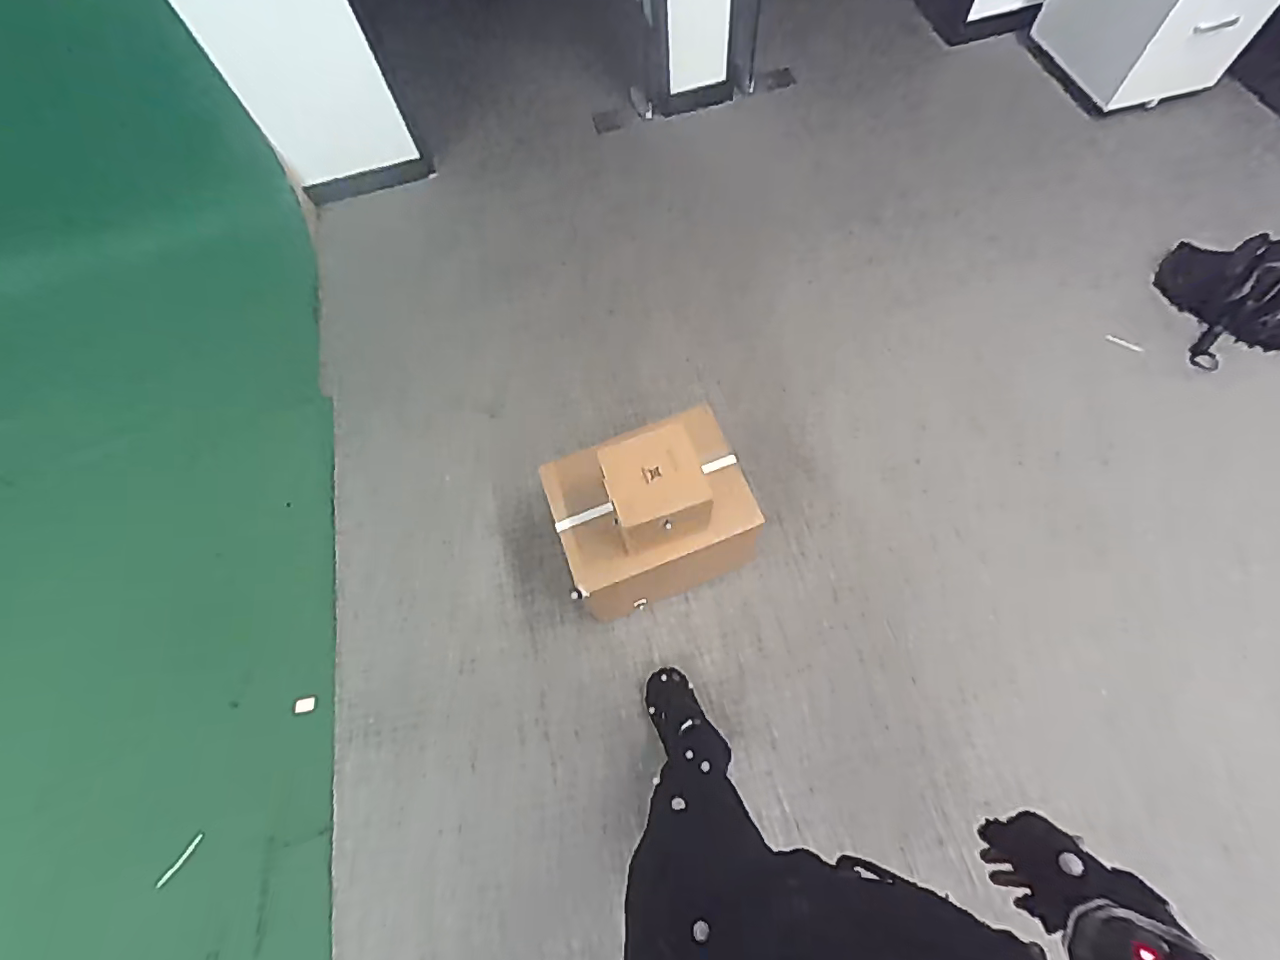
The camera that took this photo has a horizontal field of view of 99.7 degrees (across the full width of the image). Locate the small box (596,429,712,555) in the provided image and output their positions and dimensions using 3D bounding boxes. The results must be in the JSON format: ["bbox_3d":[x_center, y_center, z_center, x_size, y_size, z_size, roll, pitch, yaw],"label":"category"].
[{"bbox_3d":[0.030,0.031,1.059,0.179,0.176,0.168,-19,66,-5],"label":"small box"}]
